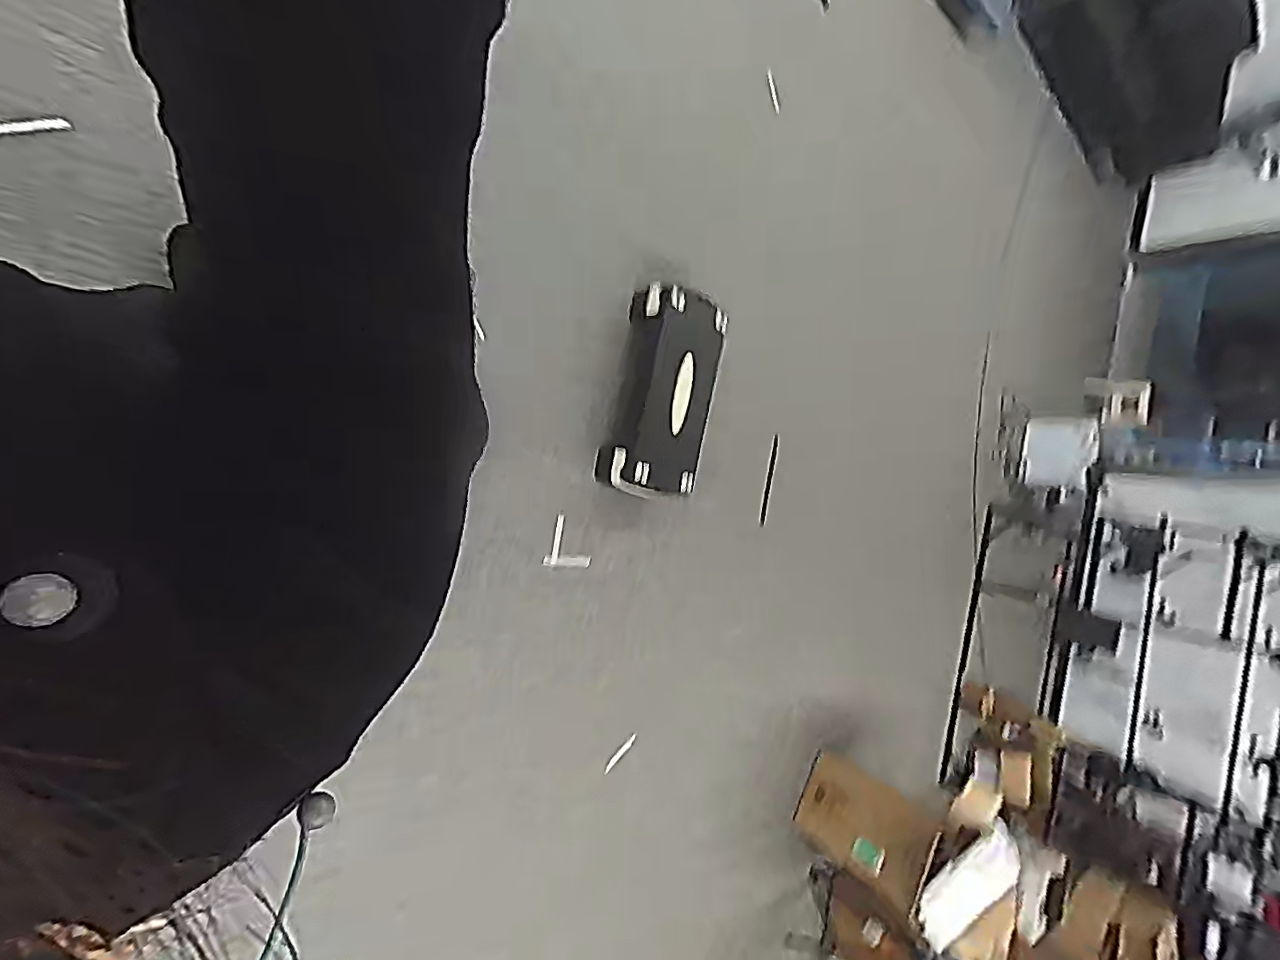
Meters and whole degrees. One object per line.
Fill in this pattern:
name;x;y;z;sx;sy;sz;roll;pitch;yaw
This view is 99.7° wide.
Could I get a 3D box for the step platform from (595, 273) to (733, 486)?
step platform;0.091;-0.325;1.806;0.286;0.204;0.684;19;83;-37
